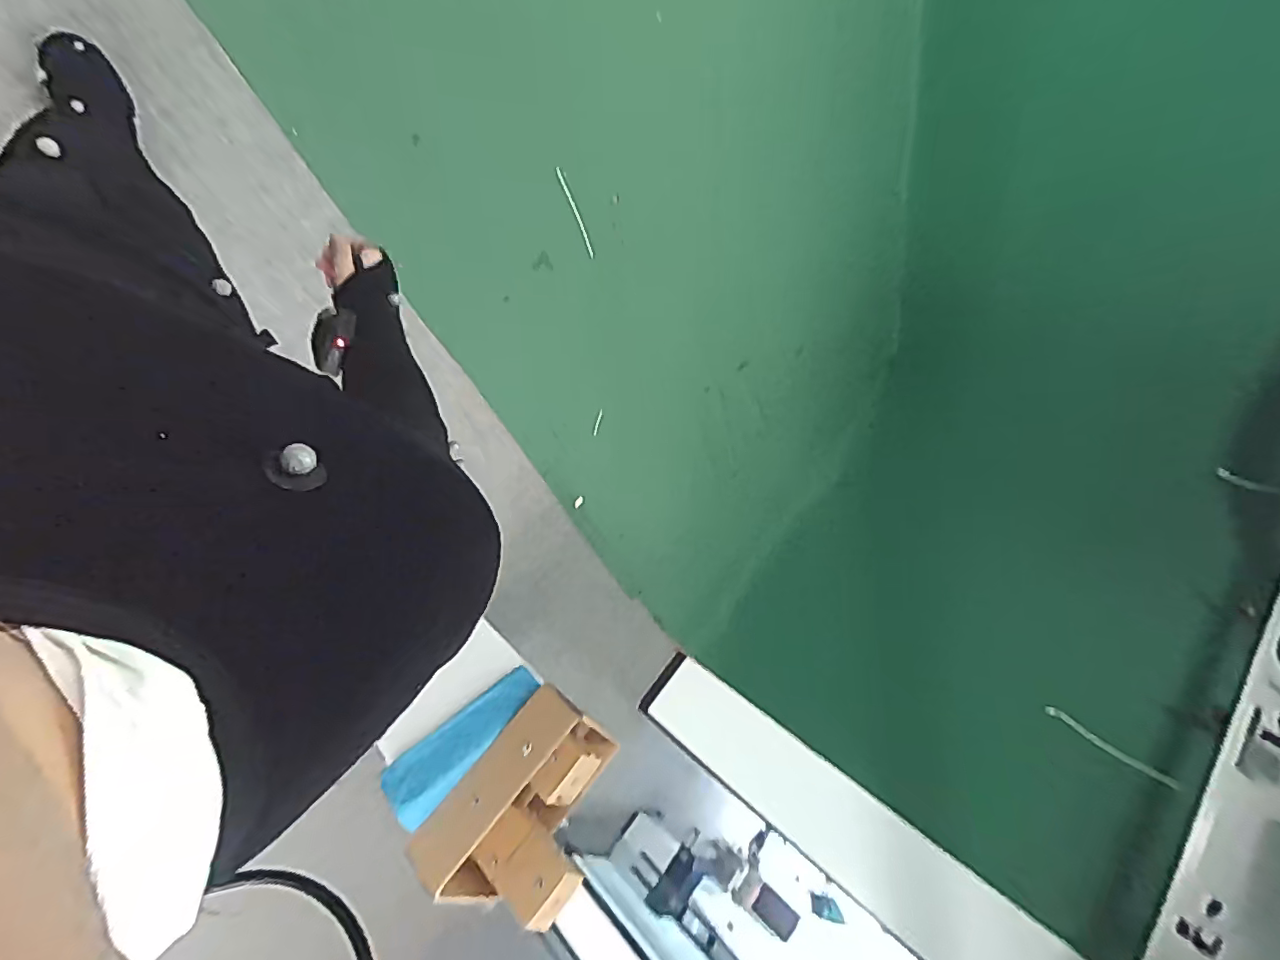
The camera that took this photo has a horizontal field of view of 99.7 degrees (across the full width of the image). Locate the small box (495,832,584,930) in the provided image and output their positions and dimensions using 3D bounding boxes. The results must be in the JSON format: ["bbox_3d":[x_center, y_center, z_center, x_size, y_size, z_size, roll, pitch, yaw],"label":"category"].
[{"bbox_3d":[-0.309,1.222,1.655,0.179,0.176,0.168,-45,141,-21],"label":"small box"}]
